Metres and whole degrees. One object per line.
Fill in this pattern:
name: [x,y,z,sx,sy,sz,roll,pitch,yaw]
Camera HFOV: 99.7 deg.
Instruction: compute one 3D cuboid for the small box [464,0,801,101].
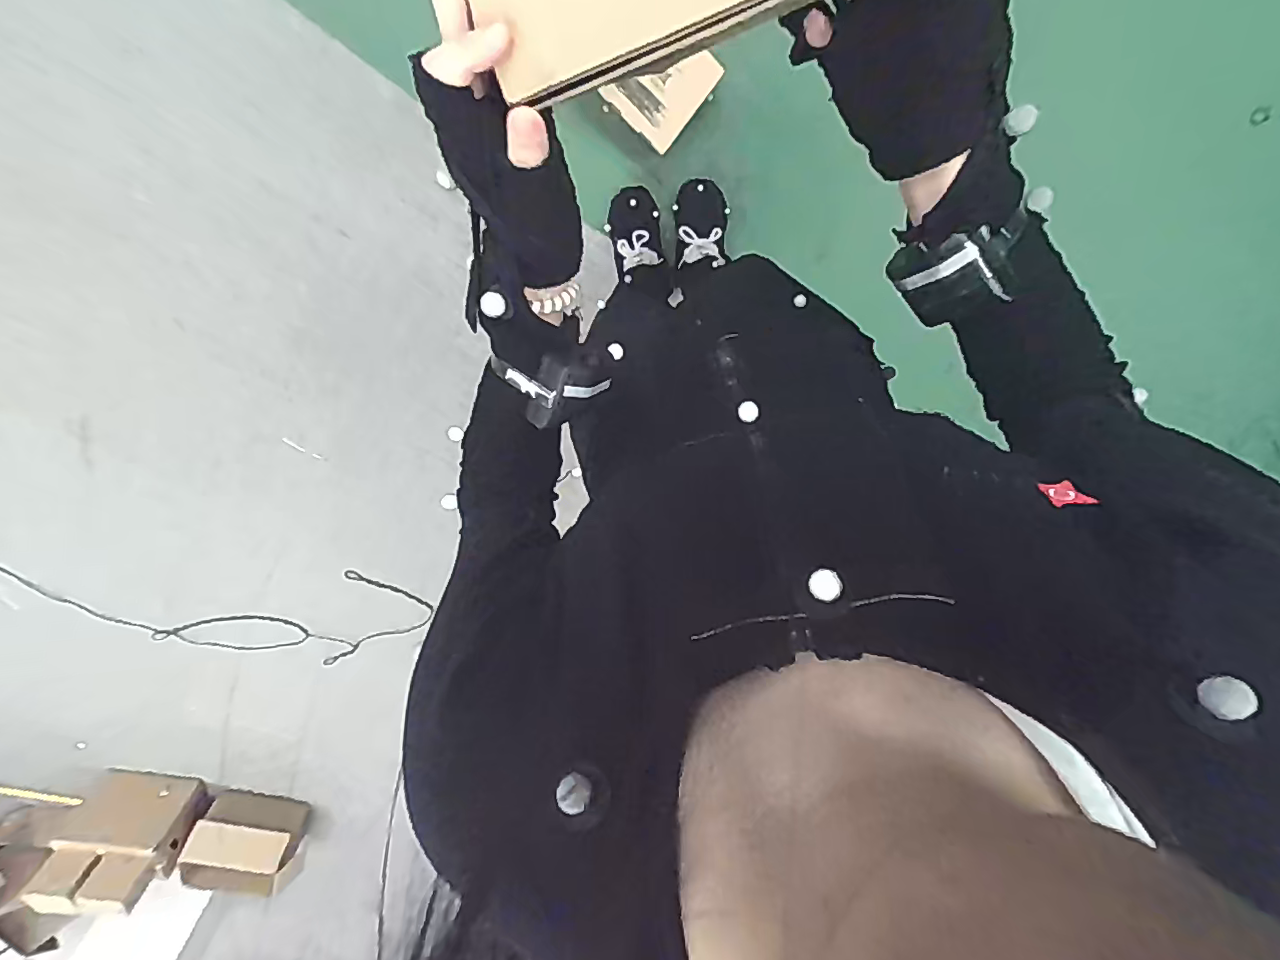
small box: [0.017,-0.287,0.213,0.179,0.168,0.176,4,132,33]
